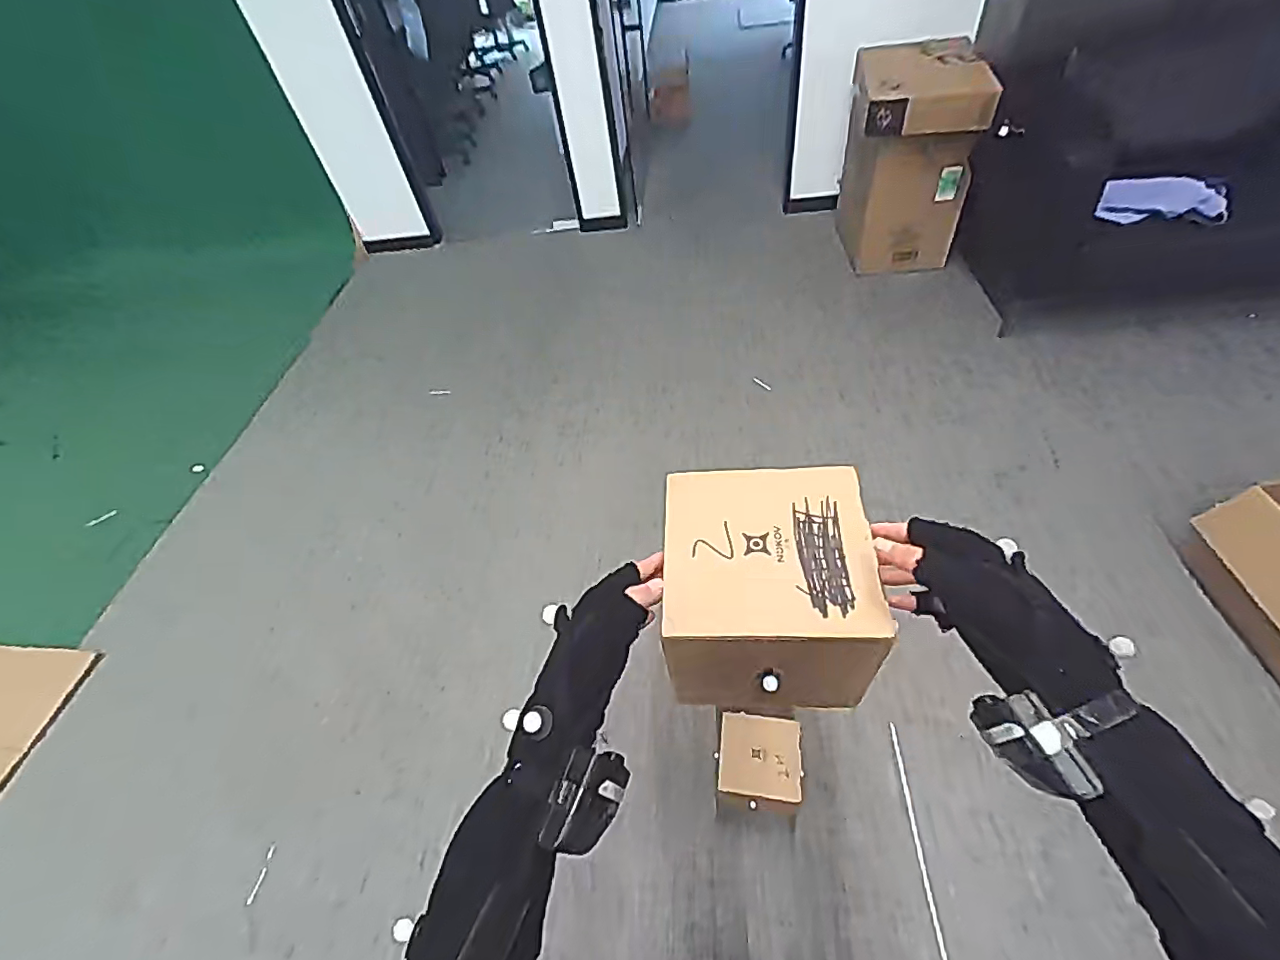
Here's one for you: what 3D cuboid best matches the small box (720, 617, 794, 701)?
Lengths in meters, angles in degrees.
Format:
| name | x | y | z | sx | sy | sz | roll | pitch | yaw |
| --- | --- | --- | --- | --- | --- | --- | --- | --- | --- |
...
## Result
| name | x | y | z | sx | sy | sz | roll | pitch | yaw |
| --- | --- | --- | --- | --- | --- | --- | --- | --- | --- |
| small box | 0.306 | 0.462 | 1.403 | 0.179 | 0.176 | 0.168 | -5 | 49 | 5 |

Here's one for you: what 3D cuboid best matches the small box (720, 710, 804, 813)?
| name | x | y | z | sx | sy | sz | roll | pitch | yaw |
| --- | --- | --- | --- | --- | --- | --- | --- | --- | --- |
| small box | 0.279 | 0.650 | 1.243 | 0.179 | 0.176 | 0.168 | 3 | 50 | 12 |
